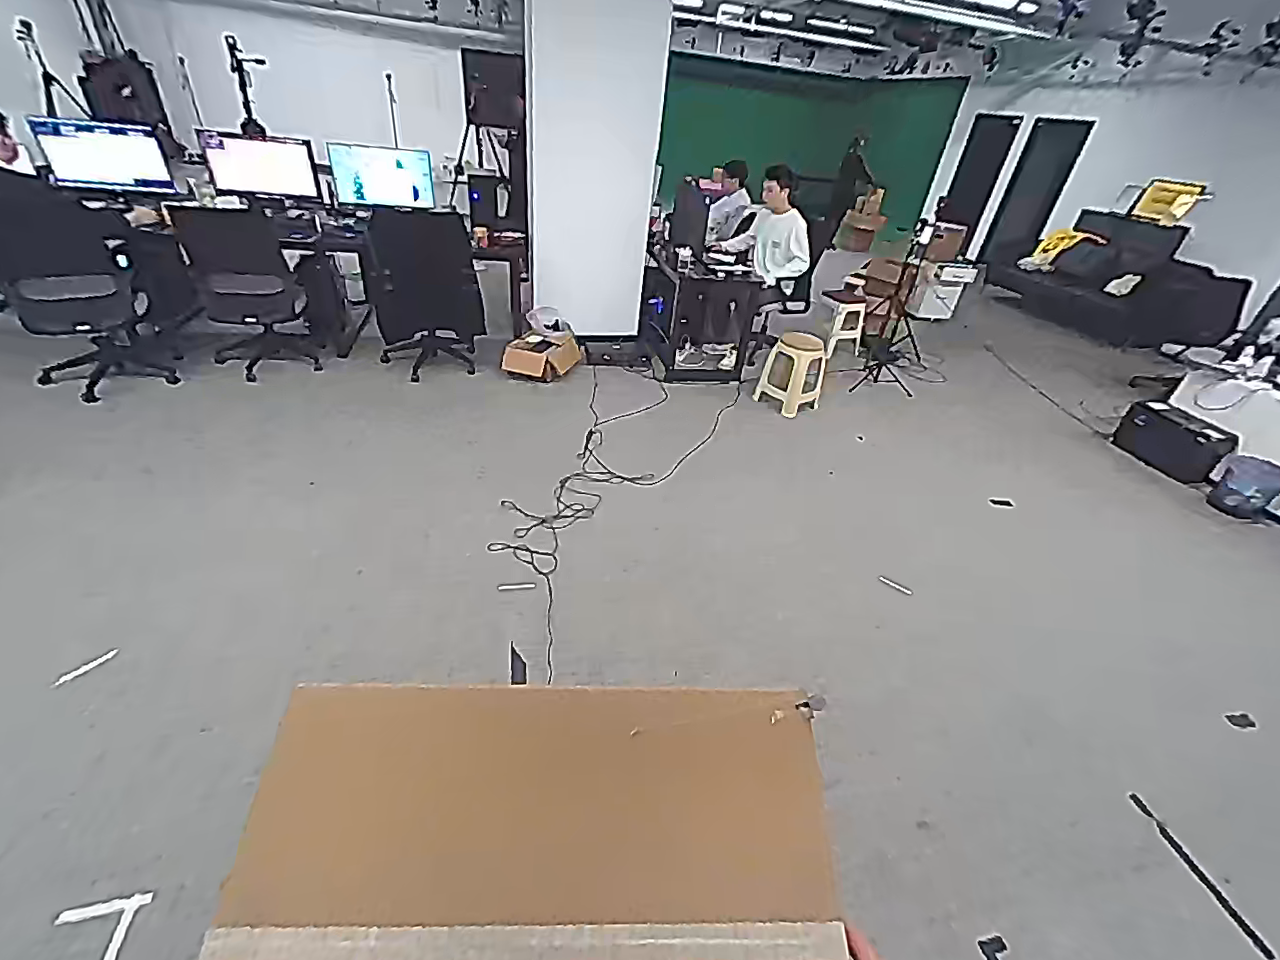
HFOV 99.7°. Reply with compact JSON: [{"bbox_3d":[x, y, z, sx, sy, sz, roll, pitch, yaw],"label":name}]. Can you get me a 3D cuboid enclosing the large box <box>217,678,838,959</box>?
[{"bbox_3d":[-0.076,0.373,0.481,0.408,0.320,0.320,2,58,-2],"label":"large box"}]
